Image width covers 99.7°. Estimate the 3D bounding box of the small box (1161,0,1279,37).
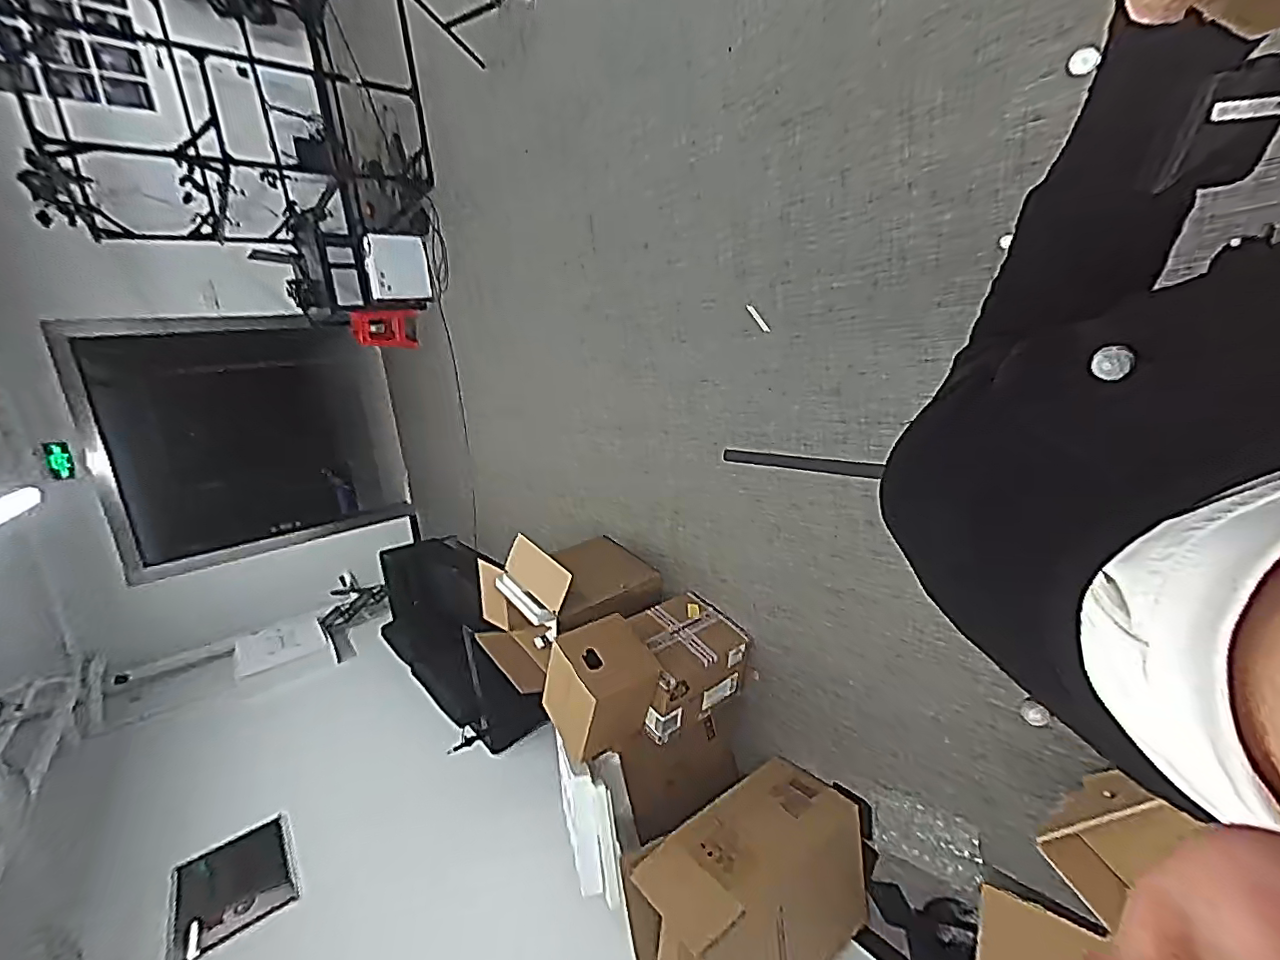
[{"bbox_3d":[0.273,-0.259,0.140,0.179,0.176,0.168,7,116,53],"label":"small box"}]
